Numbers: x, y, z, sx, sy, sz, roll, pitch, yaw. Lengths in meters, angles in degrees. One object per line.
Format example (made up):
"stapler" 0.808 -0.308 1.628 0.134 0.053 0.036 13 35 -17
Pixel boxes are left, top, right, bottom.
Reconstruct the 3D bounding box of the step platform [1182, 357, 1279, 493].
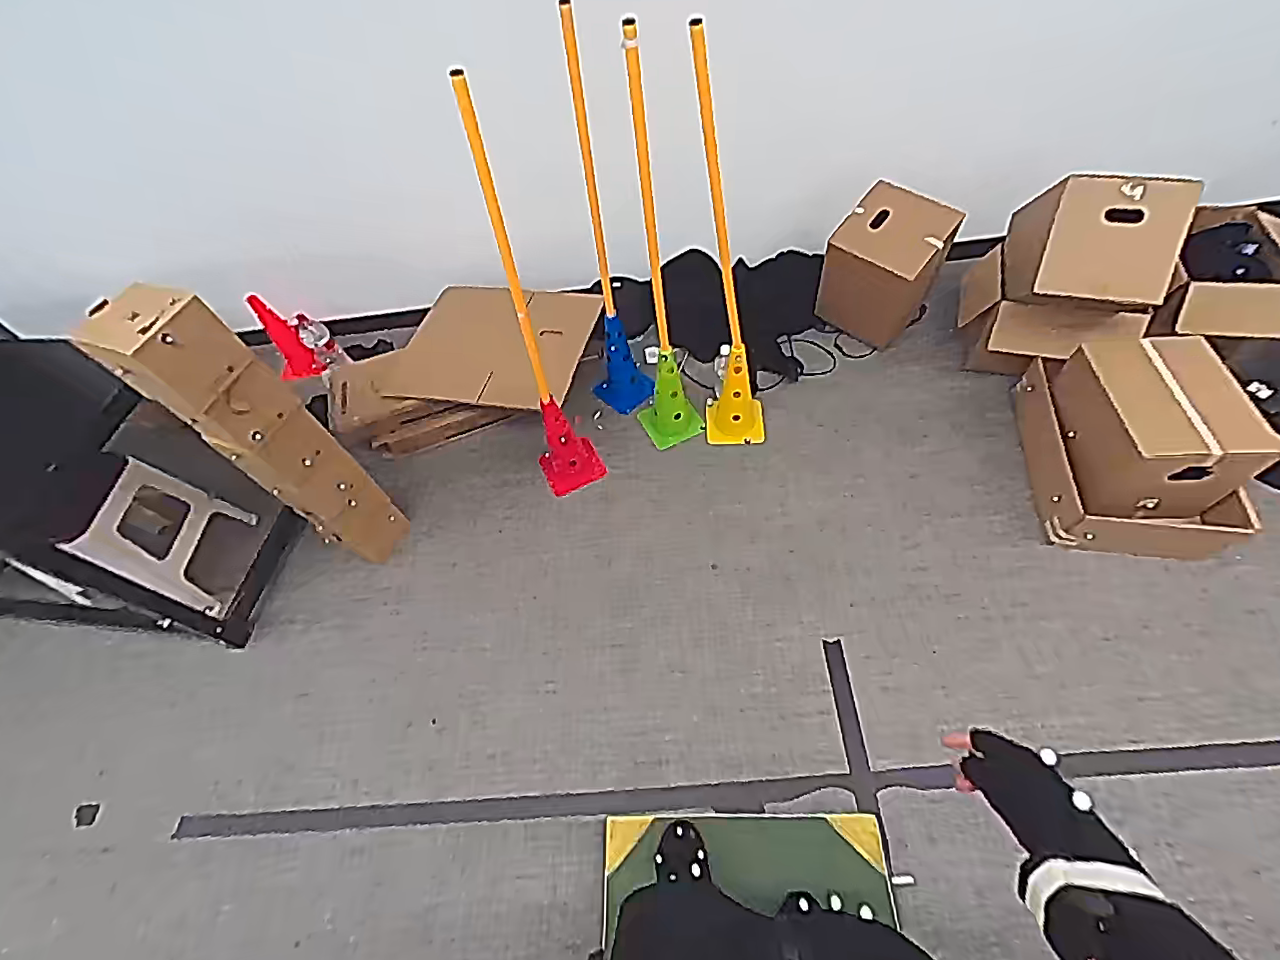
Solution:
"step platform" 2.051 -0.248 1.645 0.684 0.204 0.286 -30 57 -11
